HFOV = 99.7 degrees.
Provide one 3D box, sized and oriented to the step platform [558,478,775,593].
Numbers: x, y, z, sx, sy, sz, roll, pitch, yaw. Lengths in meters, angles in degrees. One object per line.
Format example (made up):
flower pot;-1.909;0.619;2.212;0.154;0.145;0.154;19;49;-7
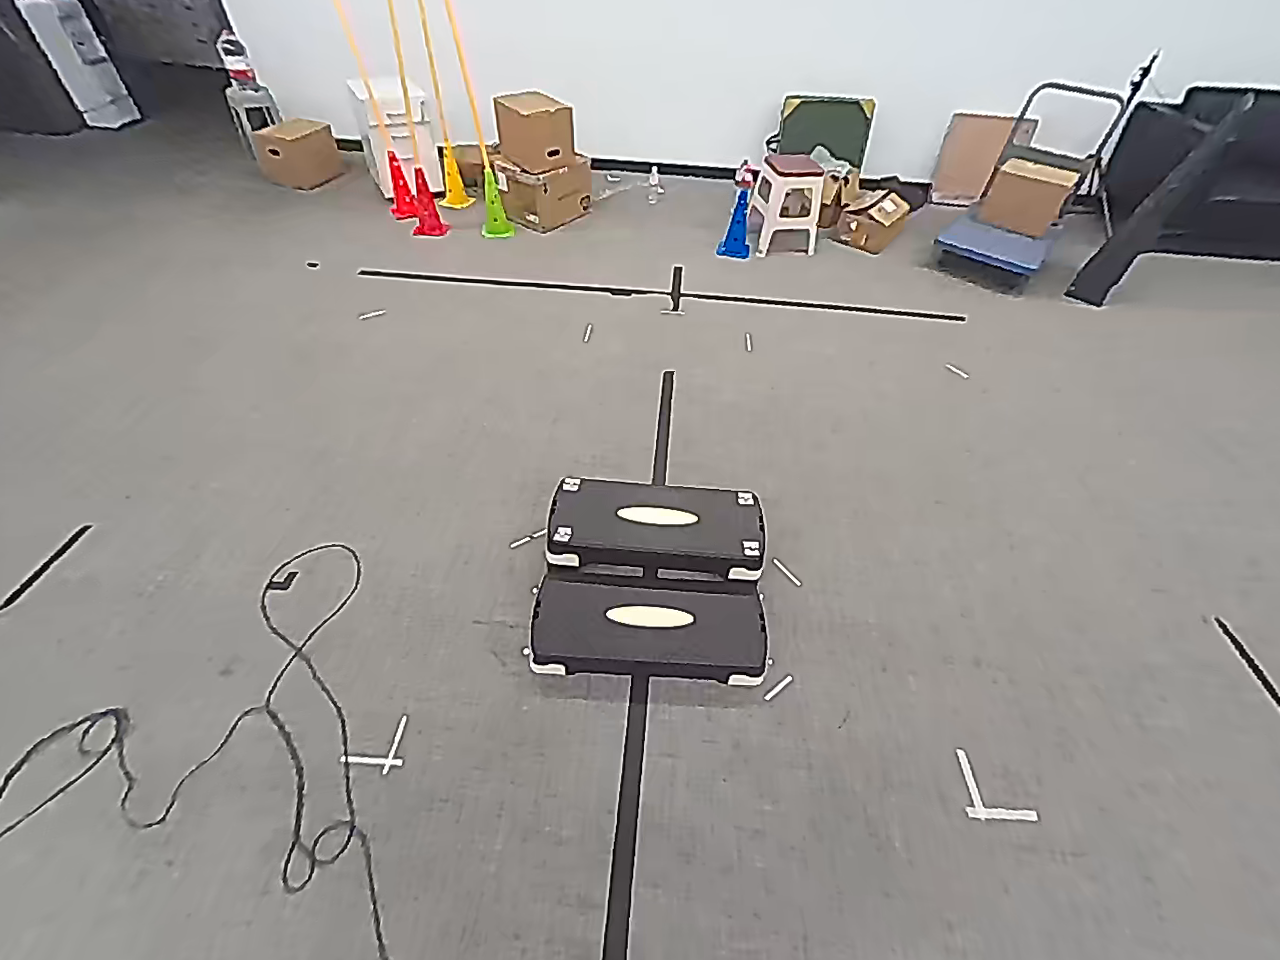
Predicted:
step platform;0.084;0.174;1.743;0.684;0.204;0.286;5;47;-1
